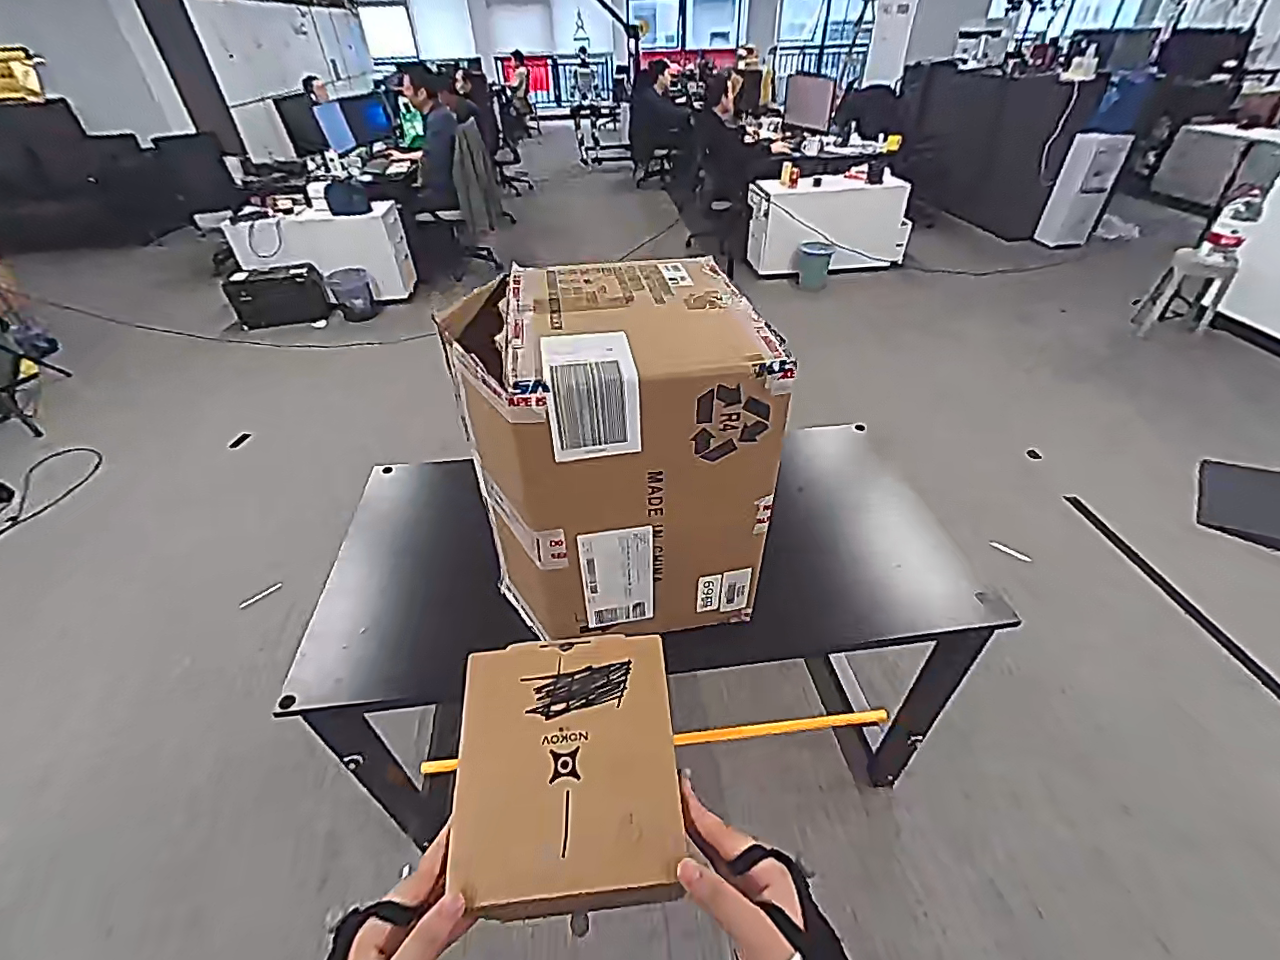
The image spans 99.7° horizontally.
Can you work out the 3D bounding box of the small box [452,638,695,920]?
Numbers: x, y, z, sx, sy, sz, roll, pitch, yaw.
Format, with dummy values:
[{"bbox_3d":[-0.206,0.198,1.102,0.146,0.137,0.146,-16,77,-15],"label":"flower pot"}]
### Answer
[{"bbox_3d":[-0.048,0.262,0.473,0.168,0.176,0.179,-5,49,-2],"label":"small box"}]
